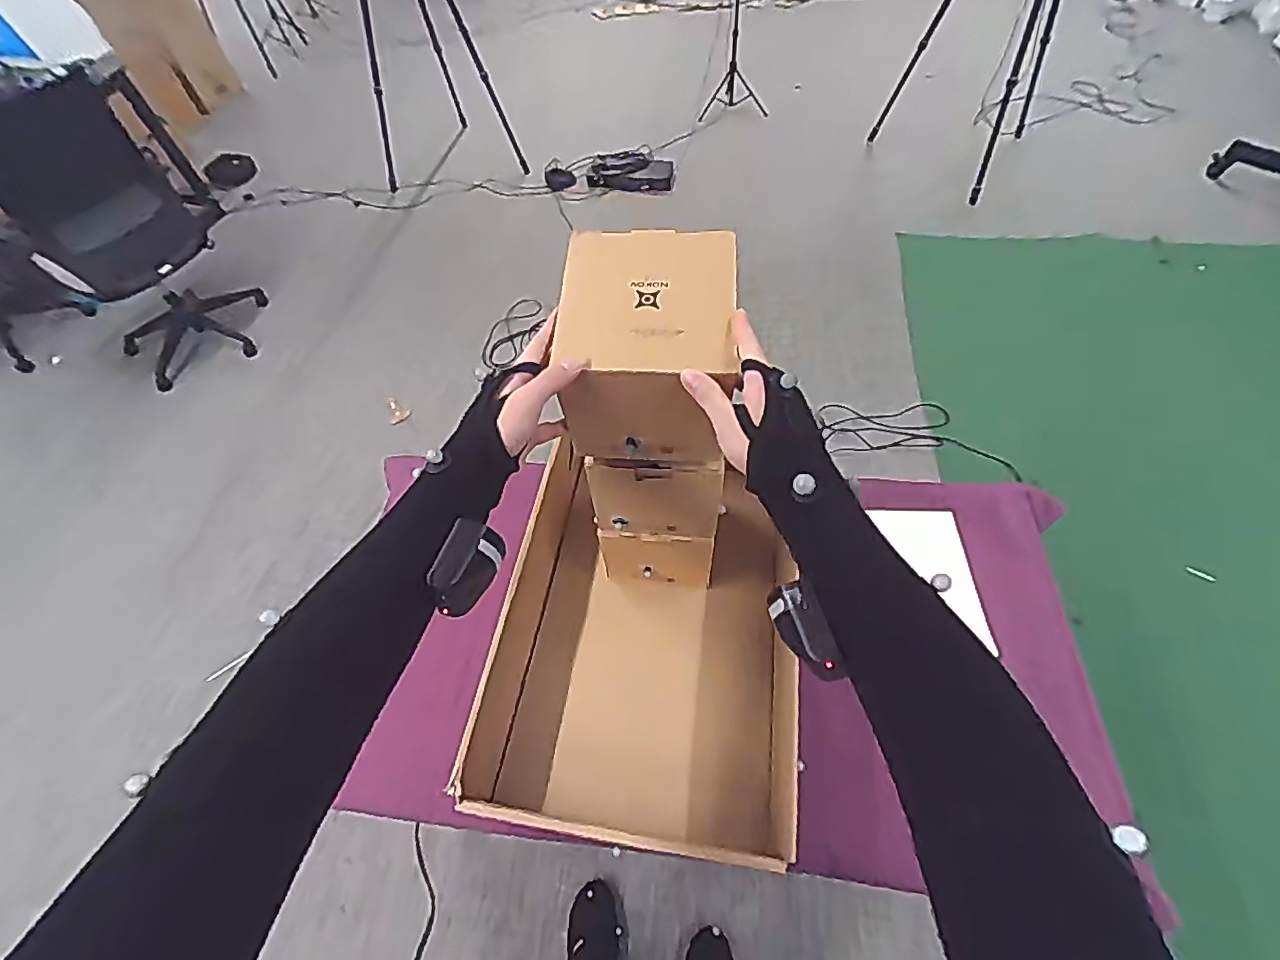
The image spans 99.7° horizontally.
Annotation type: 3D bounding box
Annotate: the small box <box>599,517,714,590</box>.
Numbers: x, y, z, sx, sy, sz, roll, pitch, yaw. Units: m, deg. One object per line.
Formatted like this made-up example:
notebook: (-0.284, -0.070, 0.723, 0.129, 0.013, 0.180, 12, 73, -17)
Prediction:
small box: (0.034, 0.058, 0.871, 0.168, 0.176, 0.179, 4, 58, 6)

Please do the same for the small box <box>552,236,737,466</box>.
small box: (0.012, -0.132, 0.579, 0.168, 0.176, 0.179, 2, 65, 4)

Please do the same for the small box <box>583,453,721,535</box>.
small box: (0.026, -0.039, 0.739, 0.168, 0.176, 0.179, 3, 56, 5)
